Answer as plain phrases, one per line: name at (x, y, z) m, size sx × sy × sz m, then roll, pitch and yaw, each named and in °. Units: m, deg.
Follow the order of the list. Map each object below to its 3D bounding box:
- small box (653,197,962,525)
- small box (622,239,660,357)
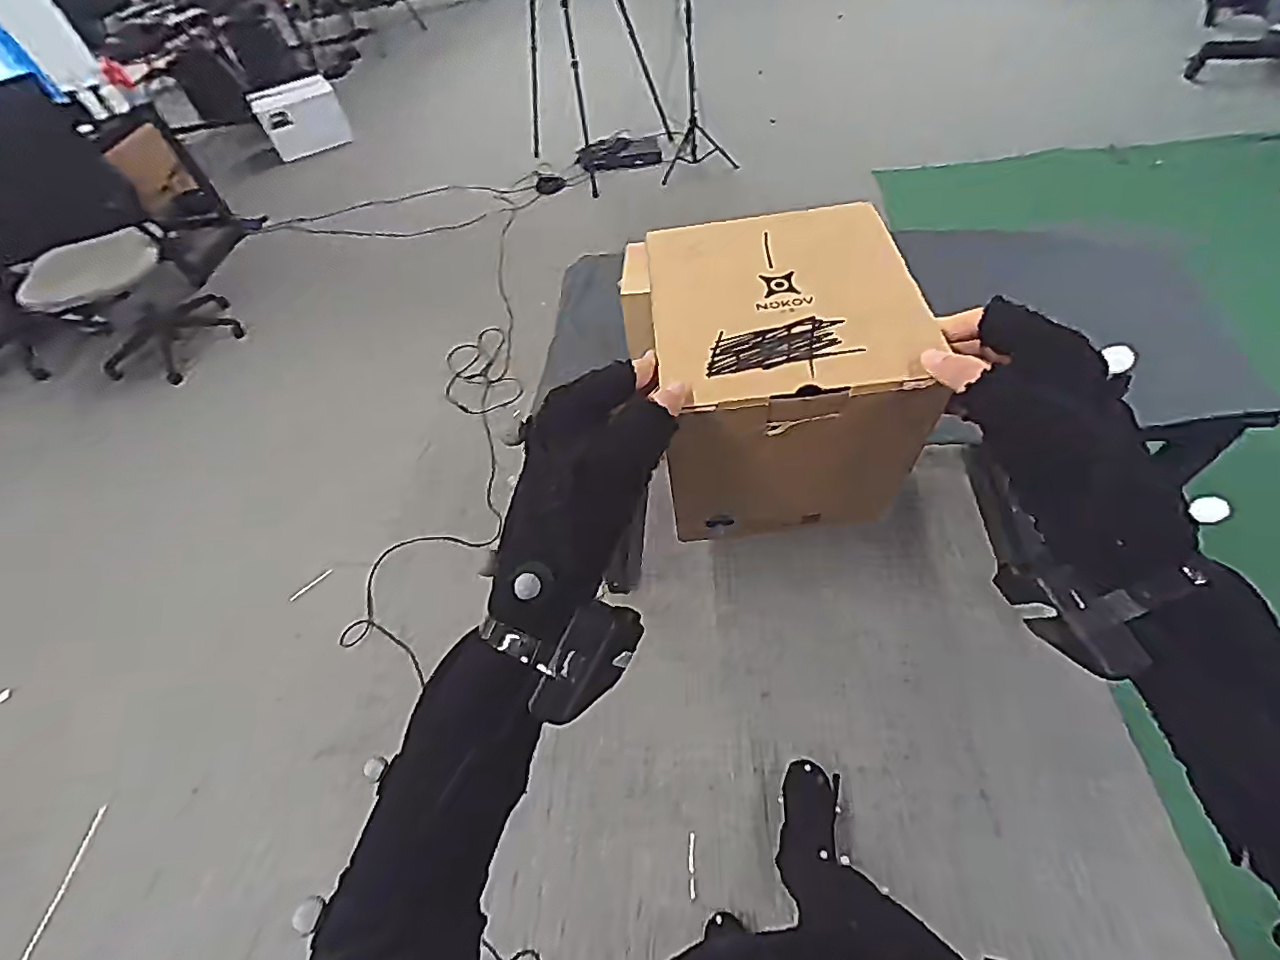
small box at (0.103, -0.076, 0.409) m, size 0.168 × 0.176 × 0.179 m, roll -5°, pitch 57°, yaw 5°
small box at (0.064, -0.359, 1.071) m, size 0.168 × 0.176 × 0.179 m, roll -2°, pitch 52°, yaw 8°
